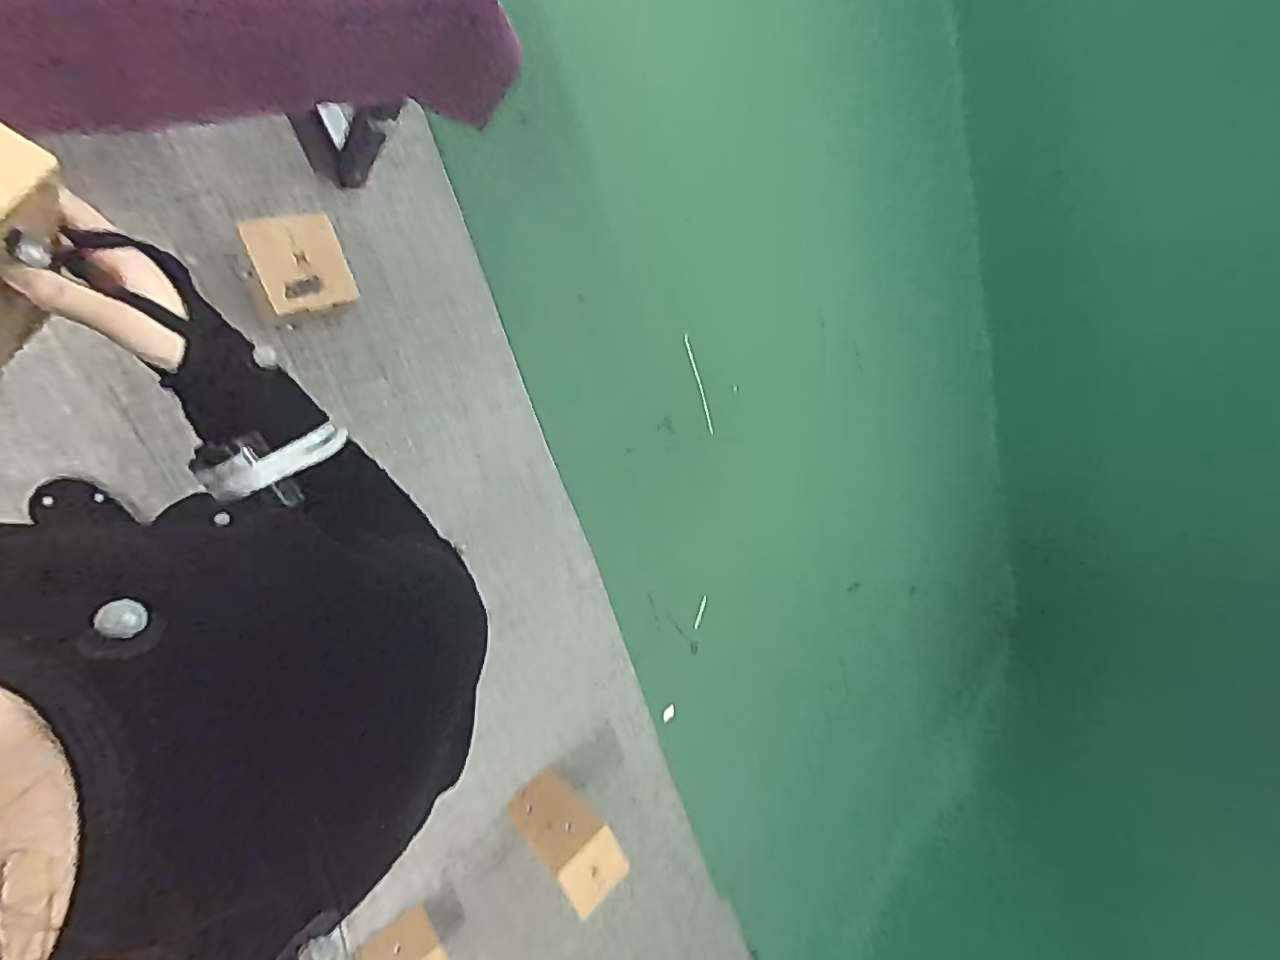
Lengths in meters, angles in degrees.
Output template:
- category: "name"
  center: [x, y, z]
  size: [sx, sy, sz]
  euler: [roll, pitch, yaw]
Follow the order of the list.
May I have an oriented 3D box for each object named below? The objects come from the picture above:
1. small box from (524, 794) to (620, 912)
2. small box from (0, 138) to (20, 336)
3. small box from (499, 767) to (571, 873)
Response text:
- category: "small box"
  center: [-0.187, 0.989, 1.456]
  size: [0.168, 0.176, 0.179]
  euler: [-32, 112, -30]
- category: "small box"
  center: [-0.423, -0.104, 0.228]
  size: [0.168, 0.176, 0.179]
  euler: [34, 55, -35]
- category: "small box"
  center: [-0.287, 0.982, 1.587]
  size: [0.168, 0.176, 0.179]
  euler: [-30, 111, -31]
